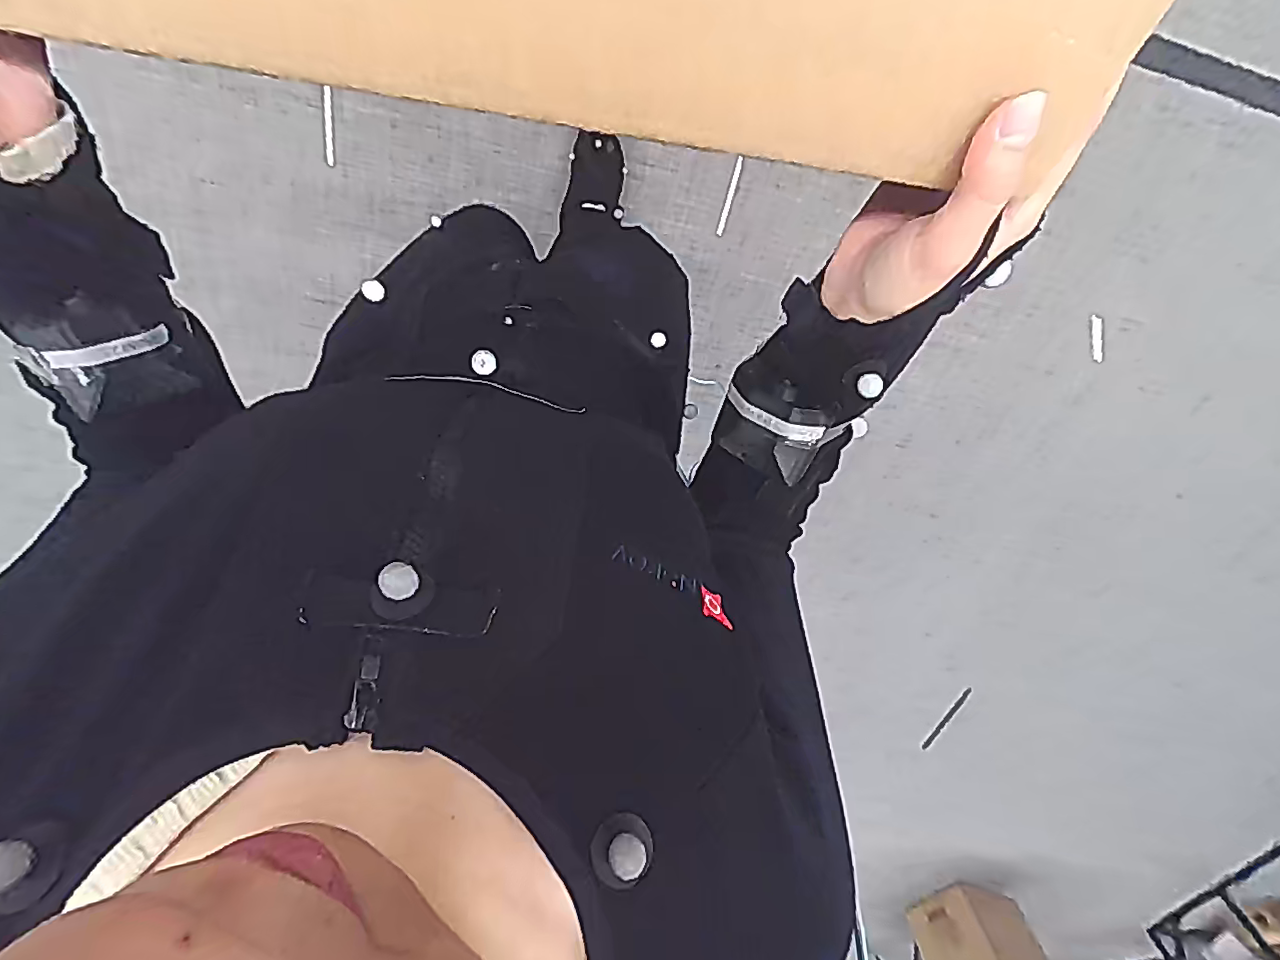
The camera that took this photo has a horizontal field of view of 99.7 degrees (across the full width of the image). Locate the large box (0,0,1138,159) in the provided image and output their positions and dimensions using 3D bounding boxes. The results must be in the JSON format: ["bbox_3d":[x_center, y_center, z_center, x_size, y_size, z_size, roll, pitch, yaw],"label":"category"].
[{"bbox_3d":[-0.026,-0.348,0.162,0.408,0.320,0.320,4,143,-7],"label":"large box"}]
